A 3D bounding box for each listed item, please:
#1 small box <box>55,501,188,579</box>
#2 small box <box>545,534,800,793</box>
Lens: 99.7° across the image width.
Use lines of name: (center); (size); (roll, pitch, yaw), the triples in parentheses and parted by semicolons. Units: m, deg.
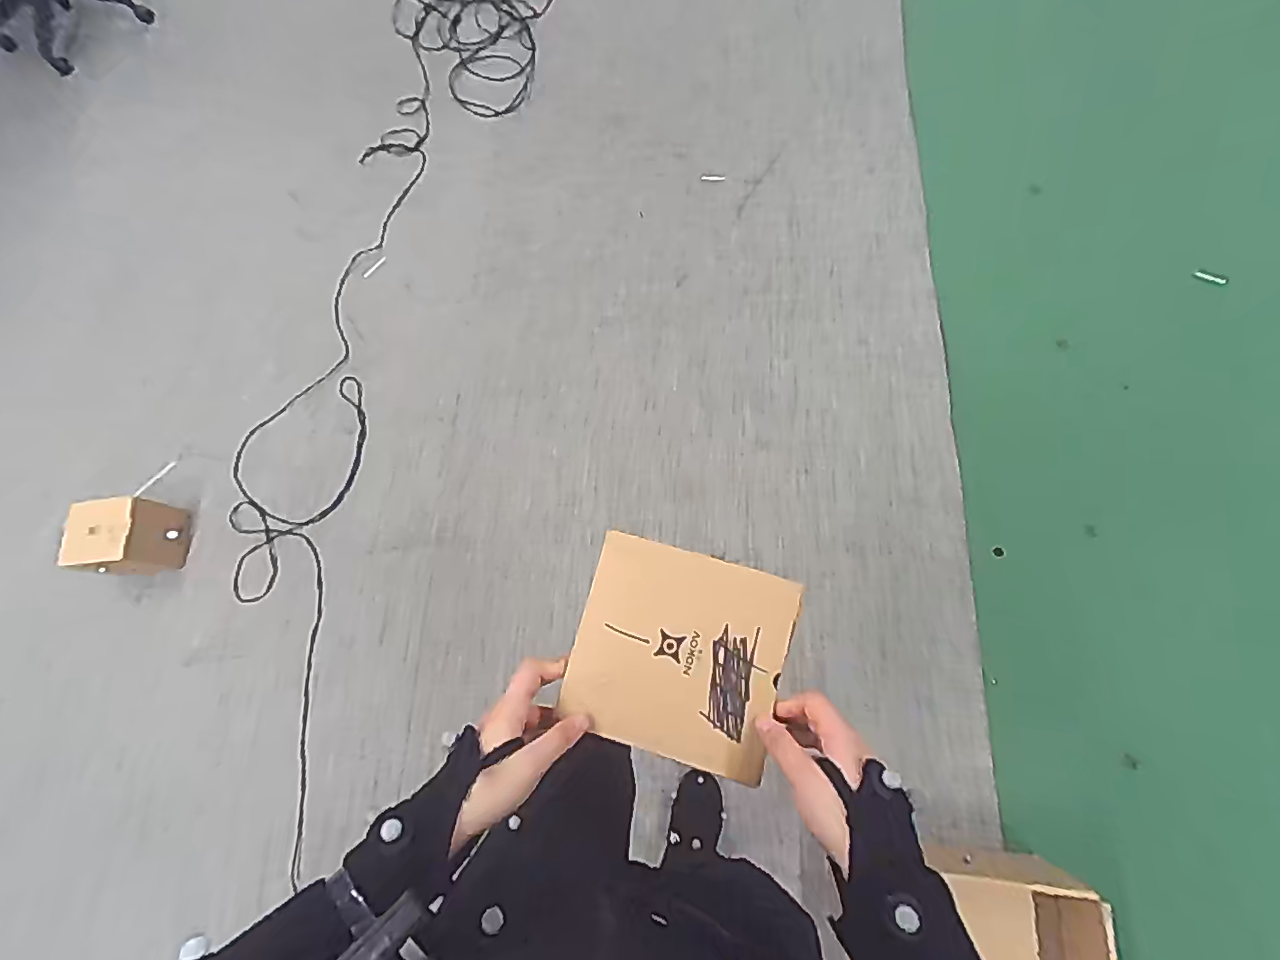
small box: (-1.352, 0.162, 1.422); (0.179, 0.176, 0.168); (-8, 73, 3)
small box: (0.034, 0.160, 0.517); (0.179, 0.176, 0.168); (15, 79, 9)
